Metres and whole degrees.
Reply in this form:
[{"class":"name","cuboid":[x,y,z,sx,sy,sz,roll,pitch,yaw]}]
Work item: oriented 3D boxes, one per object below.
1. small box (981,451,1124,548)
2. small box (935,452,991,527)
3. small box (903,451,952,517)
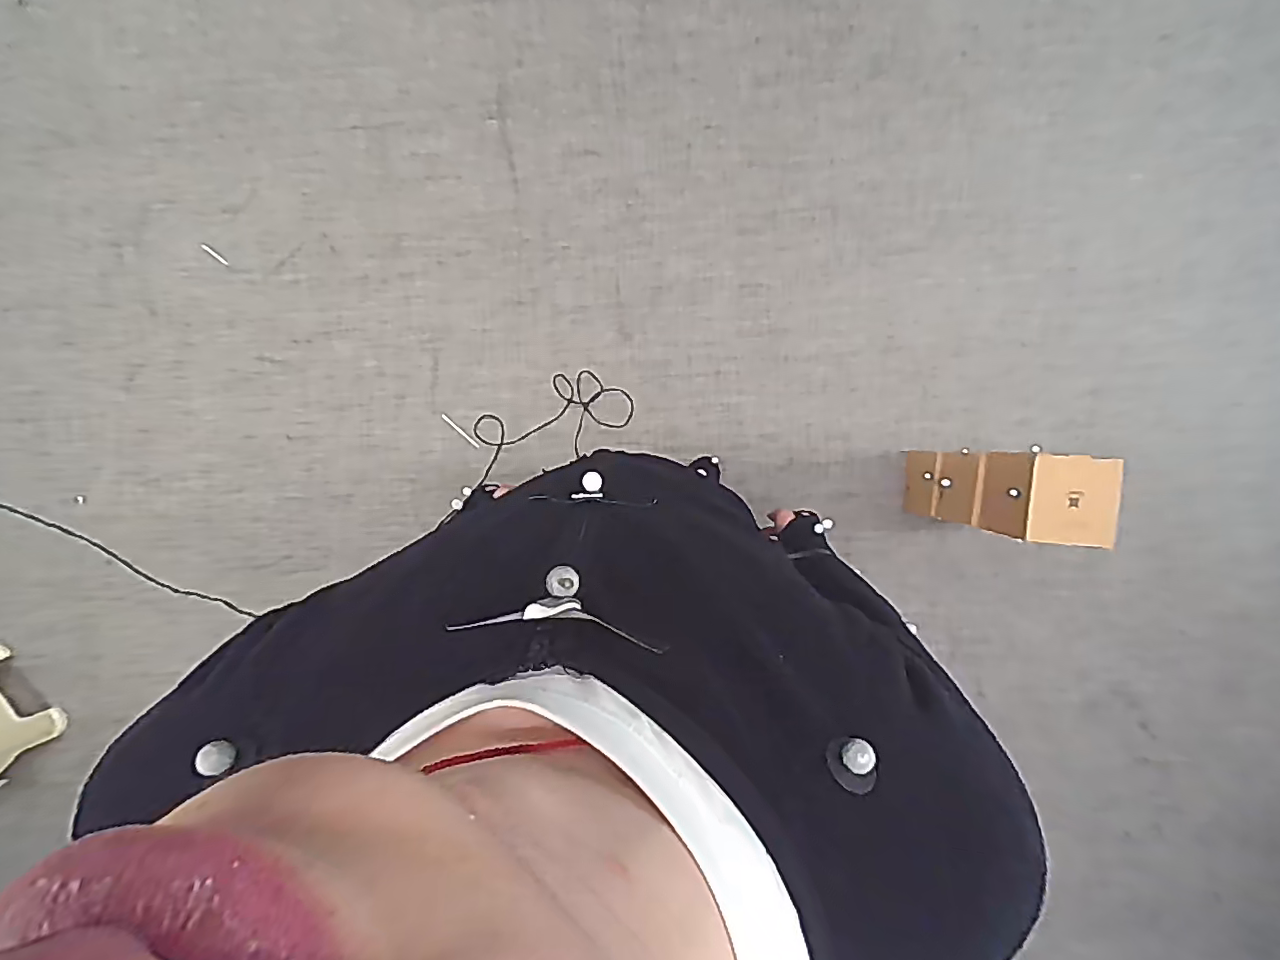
[{"class":"small box","cuboid":[0.838,0.033,1.117,0.168,0.176,0.179,4,95,4]},{"class":"small box","cuboid":[0.836,0.025,1.278,0.179,0.176,0.168,6,94,3]},{"class":"small box","cuboid":[0.834,0.012,1.443,0.179,0.176,0.168,5,94,2]}]
